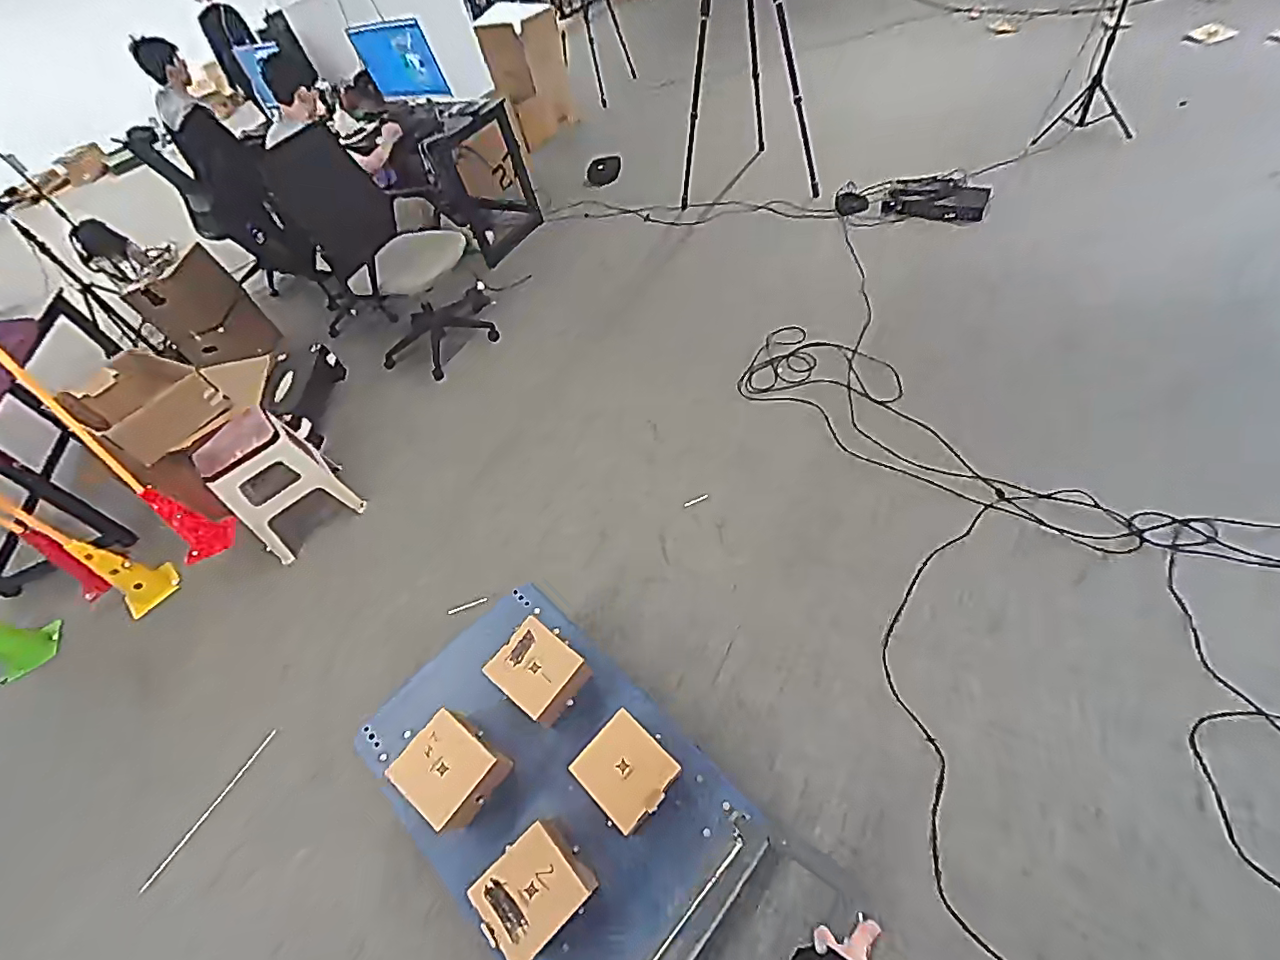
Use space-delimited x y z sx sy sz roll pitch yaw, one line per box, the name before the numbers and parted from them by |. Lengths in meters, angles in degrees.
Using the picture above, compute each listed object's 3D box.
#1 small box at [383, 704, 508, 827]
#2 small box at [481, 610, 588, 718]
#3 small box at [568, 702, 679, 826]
small box | -0.420 0.631 1.201 0.179 0.176 0.168 34 66 19
small box | -0.246 0.450 1.300 0.179 0.176 0.168 34 67 19
small box | -0.033 0.626 1.192 0.179 0.176 0.168 39 68 21
